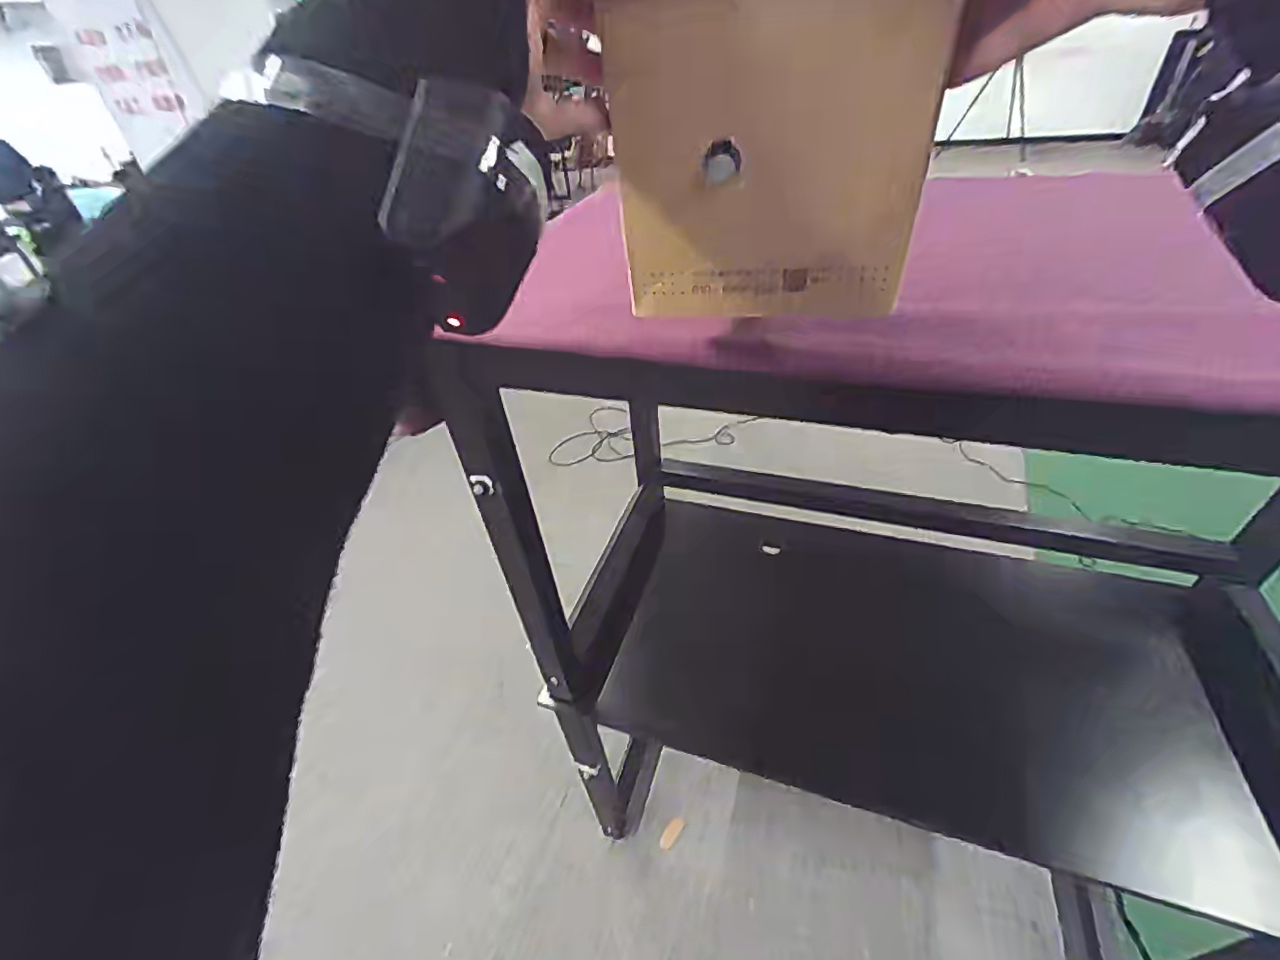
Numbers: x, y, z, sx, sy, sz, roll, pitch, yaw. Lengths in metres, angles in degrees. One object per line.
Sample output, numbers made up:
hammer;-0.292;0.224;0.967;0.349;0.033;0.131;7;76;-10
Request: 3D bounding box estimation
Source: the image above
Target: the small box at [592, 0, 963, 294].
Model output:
small box;0.083;-0.228;0.332;0.168;0.176;0.179;5;46;13
